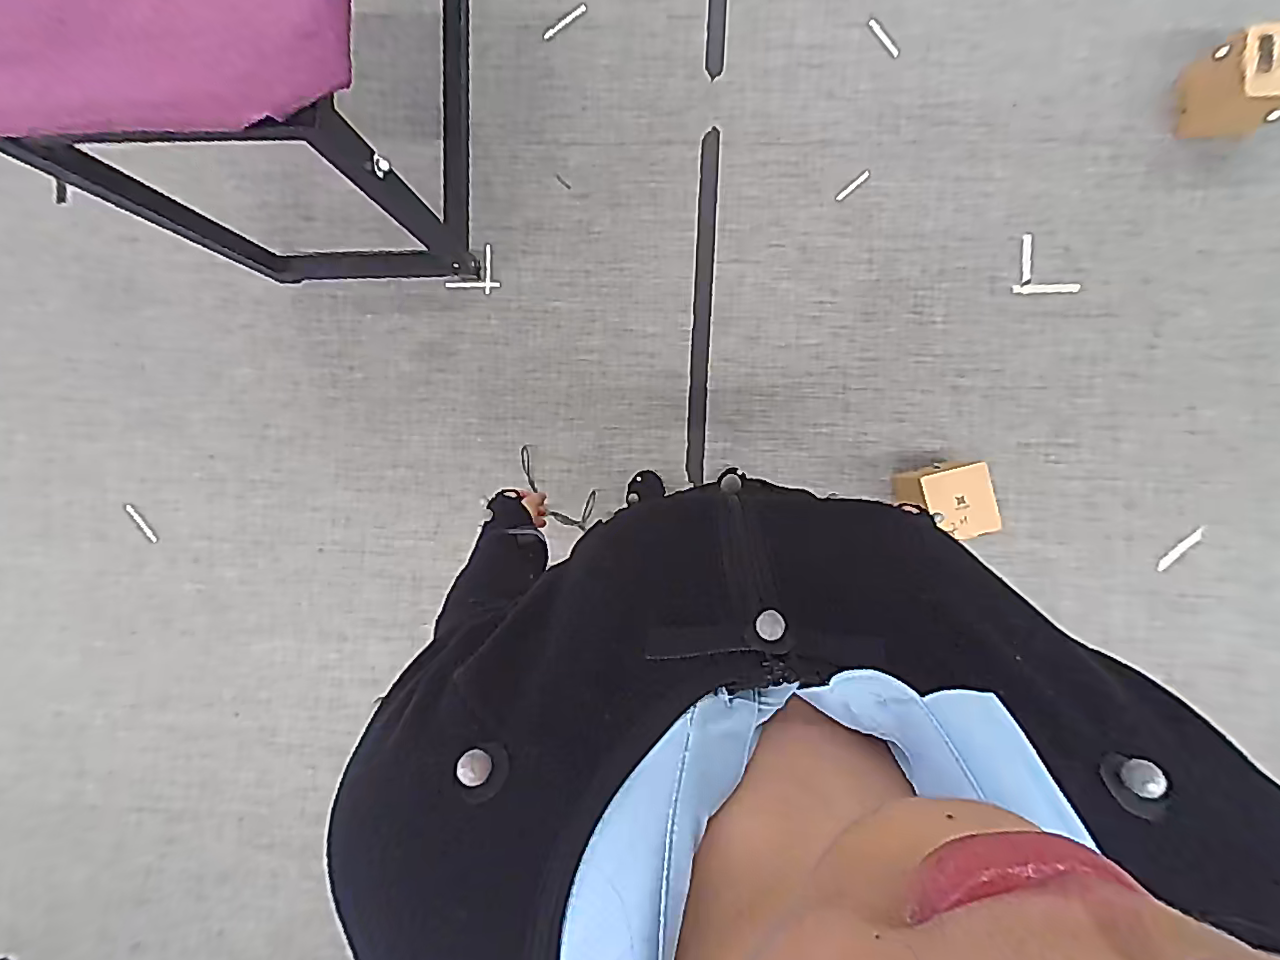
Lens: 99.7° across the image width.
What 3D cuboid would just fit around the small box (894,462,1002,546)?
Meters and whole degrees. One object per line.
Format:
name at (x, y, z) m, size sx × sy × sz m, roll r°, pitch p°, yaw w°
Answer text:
small box at (0.784, 0.058, 1.393) m, size 0.168 × 0.176 × 0.179 m, roll -14°, pitch 91°, yaw 2°
